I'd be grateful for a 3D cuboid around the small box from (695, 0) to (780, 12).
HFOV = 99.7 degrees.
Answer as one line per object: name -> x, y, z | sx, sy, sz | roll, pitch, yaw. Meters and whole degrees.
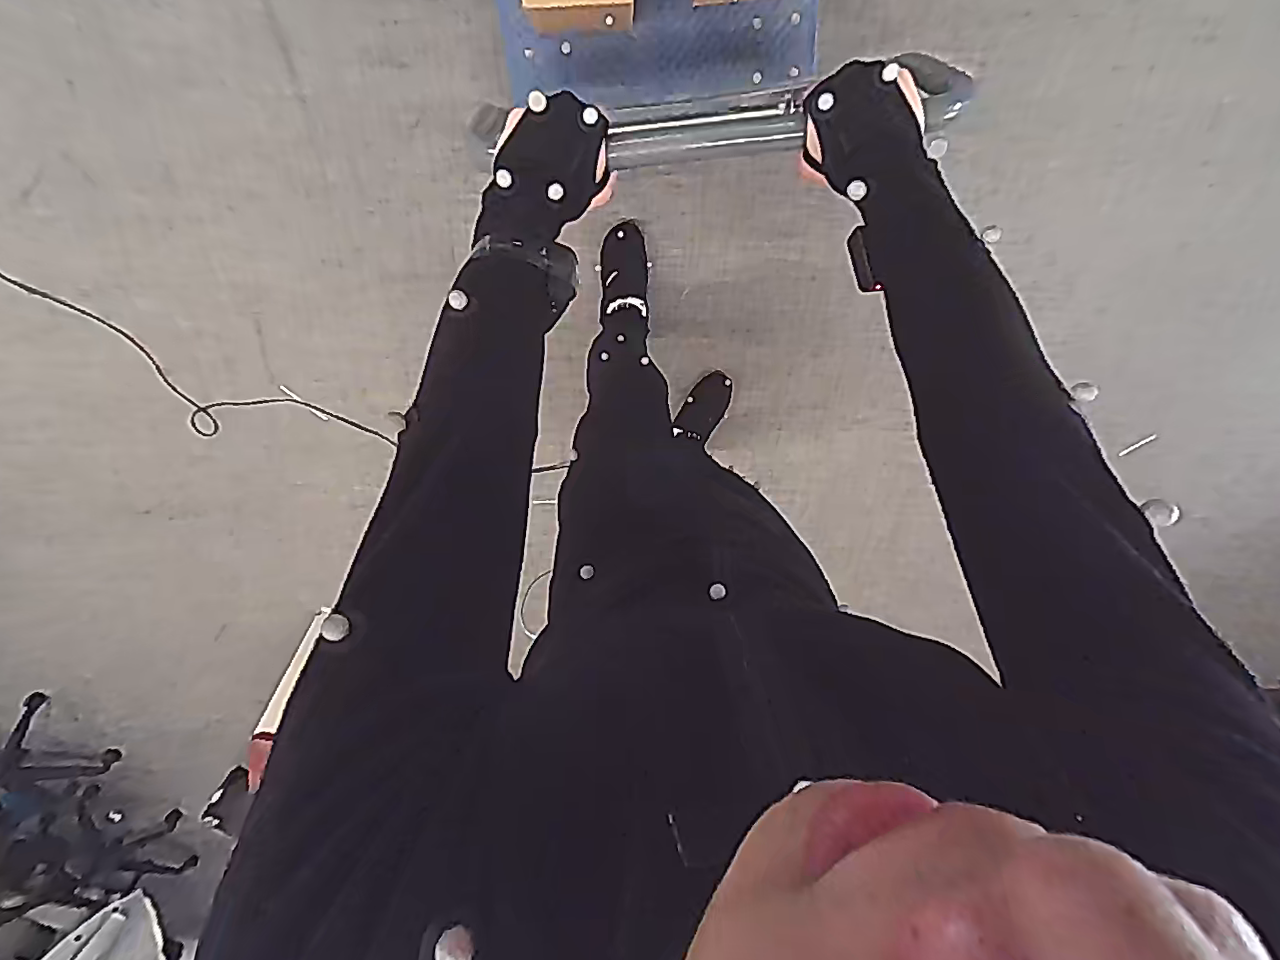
small box -> 0.172, -0.896, 0.871 | 0.168, 0.176, 0.179 | -5, 119, 2
